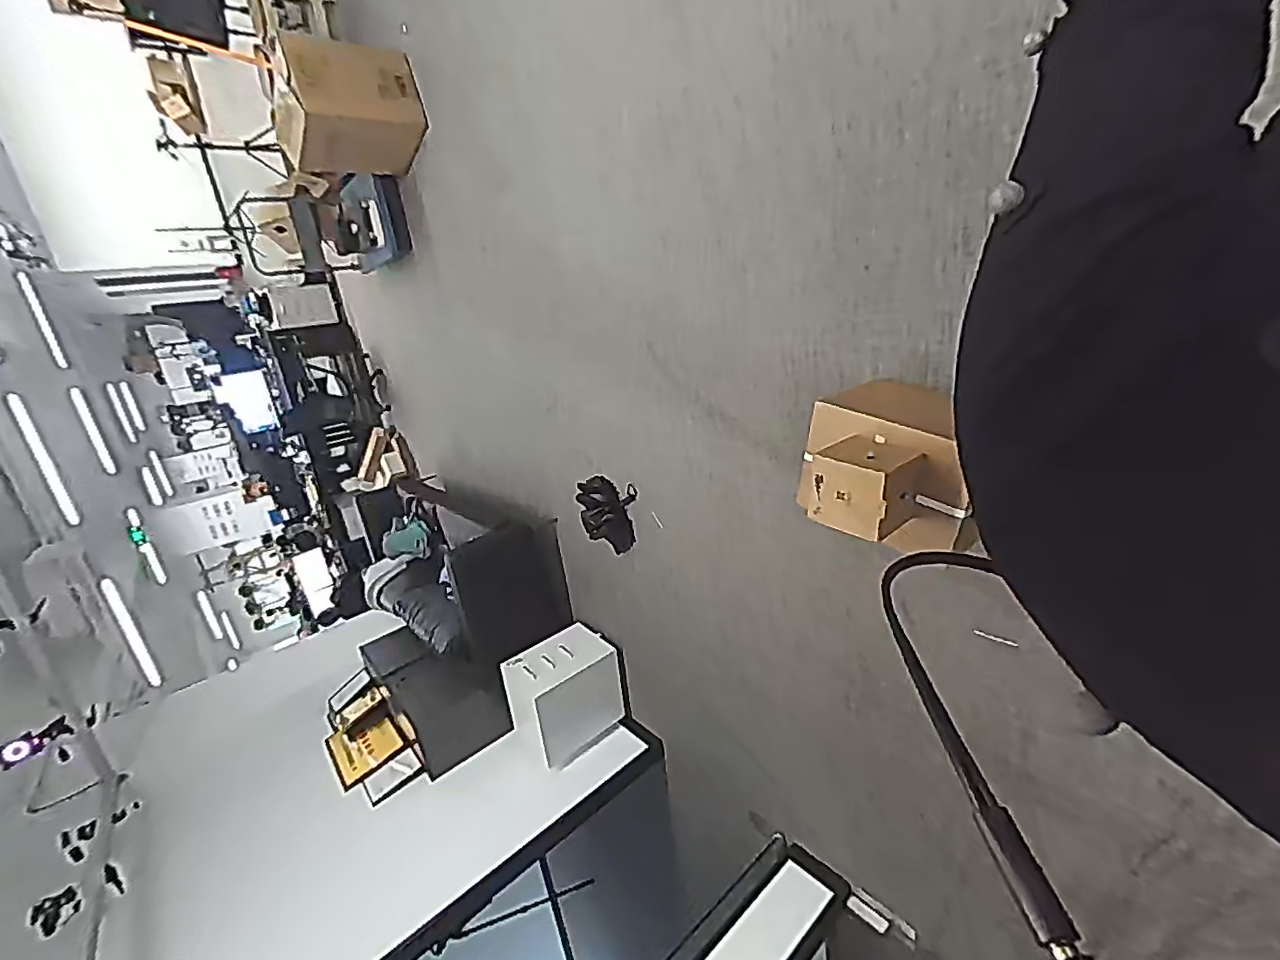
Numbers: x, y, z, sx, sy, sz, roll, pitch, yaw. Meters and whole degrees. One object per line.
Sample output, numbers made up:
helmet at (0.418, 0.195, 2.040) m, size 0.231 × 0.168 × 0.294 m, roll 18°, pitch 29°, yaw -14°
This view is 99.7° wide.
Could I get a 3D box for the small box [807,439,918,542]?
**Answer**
small box at (0.509, 0.015, 1.237) m, size 0.179 × 0.176 × 0.168 m, roll 22°, pitch 123°, yaw 45°
